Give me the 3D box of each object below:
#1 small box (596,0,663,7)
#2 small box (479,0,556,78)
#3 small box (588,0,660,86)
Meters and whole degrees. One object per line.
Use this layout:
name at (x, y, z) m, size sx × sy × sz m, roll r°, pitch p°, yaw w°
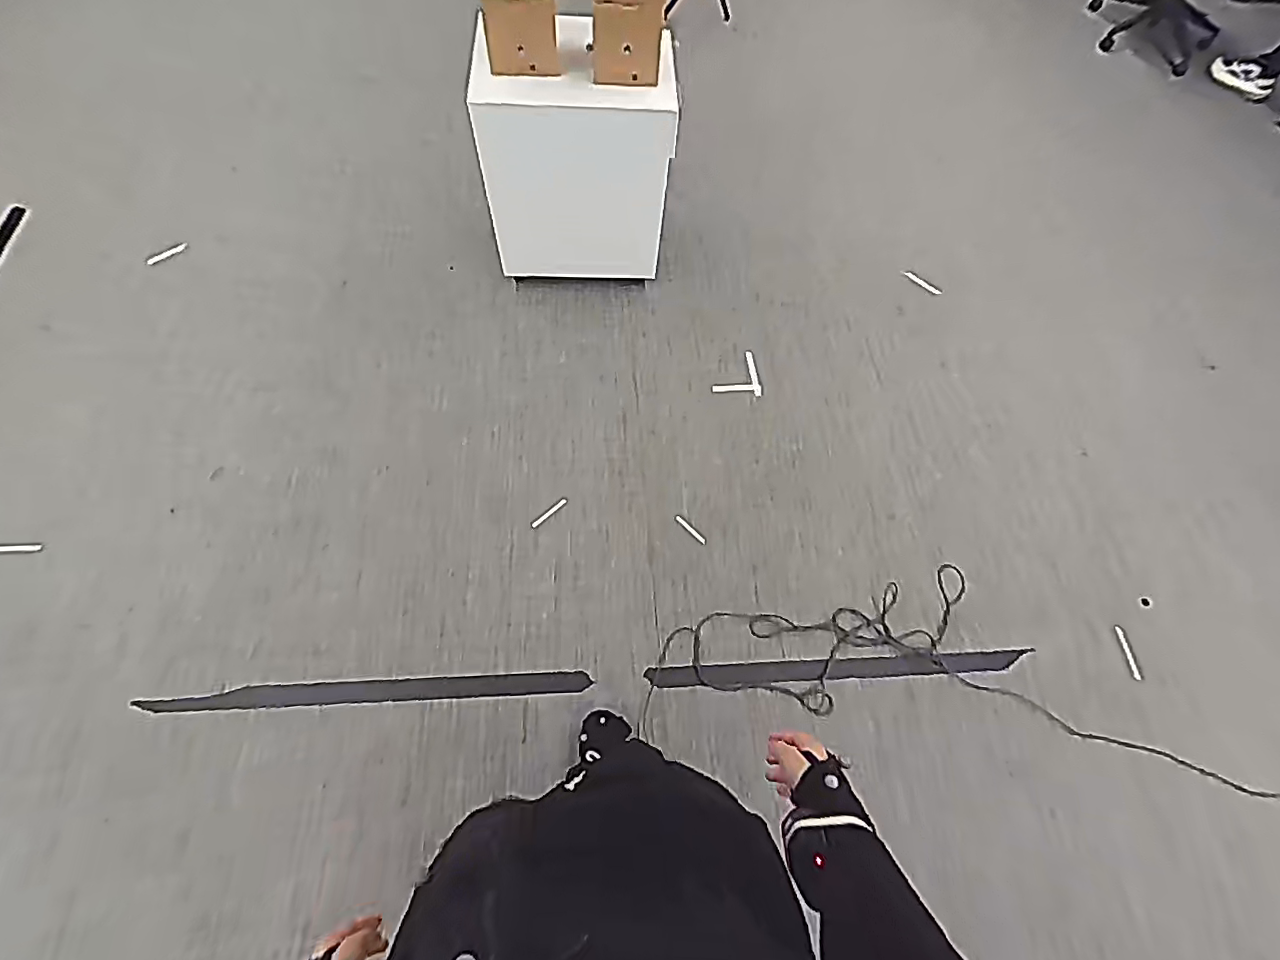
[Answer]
small box at (-0.029, -1.182, 1.181) m, size 0.168 × 0.176 × 0.179 m, roll -2°, pitch 66°, yaw -3°
small box at (-0.293, -1.119, 1.313) m, size 0.168 × 0.176 × 0.179 m, roll -3°, pitch 66°, yaw -6°
small box at (-0.039, -1.103, 1.325) m, size 0.168 × 0.176 × 0.179 m, roll -1°, pitch 67°, yaw -3°
